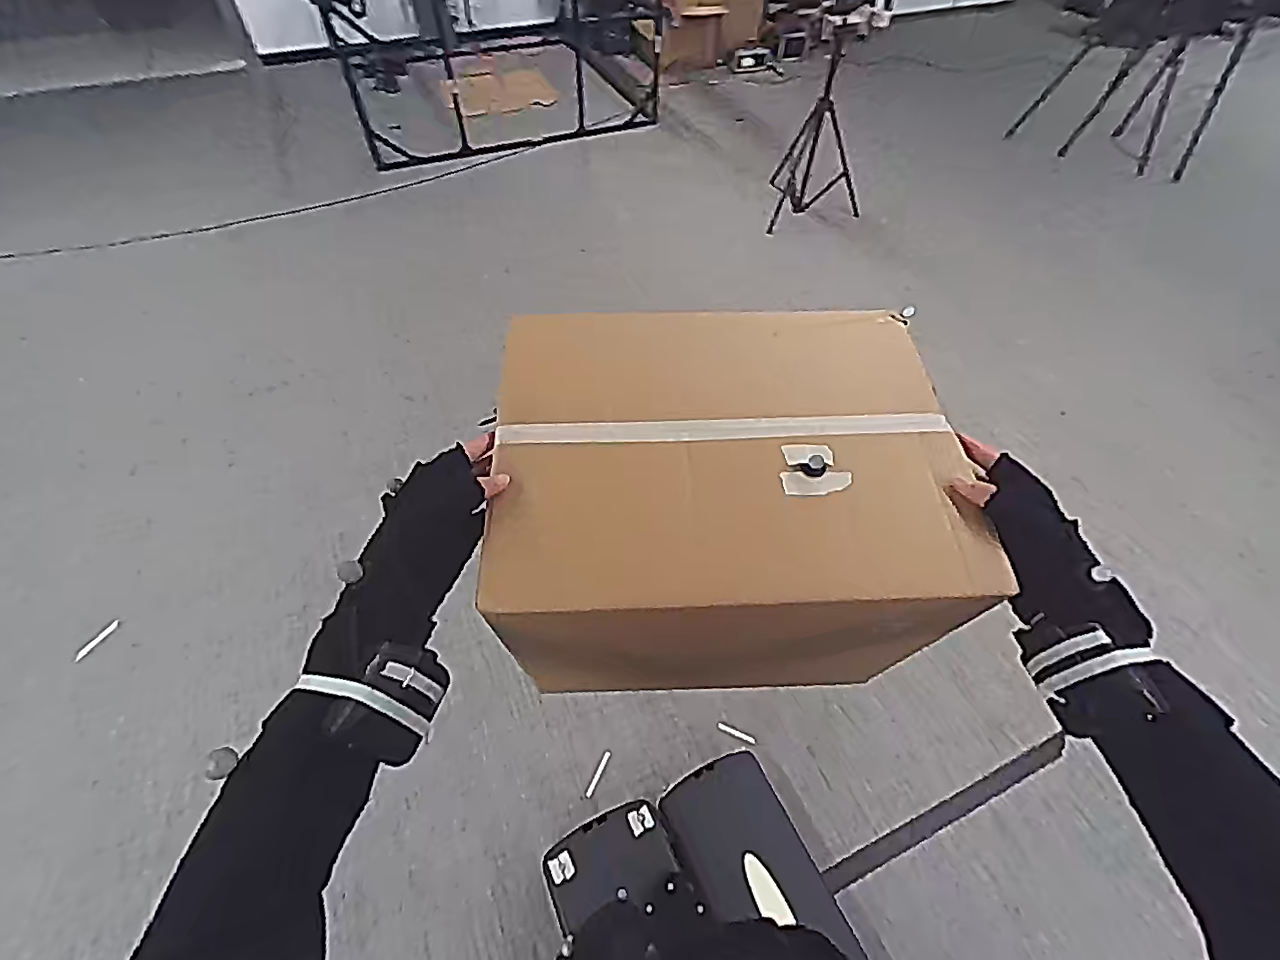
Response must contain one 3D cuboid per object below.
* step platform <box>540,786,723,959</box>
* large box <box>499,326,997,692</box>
[{"bbox_3d":[0.027,1.051,1.156,0.286,0.204,0.684,-22,55,-16],"label":"step platform"},{"bbox_3d":[0.077,0.046,0.623,0.408,0.320,0.320,-1,58,-2],"label":"large box"}]
